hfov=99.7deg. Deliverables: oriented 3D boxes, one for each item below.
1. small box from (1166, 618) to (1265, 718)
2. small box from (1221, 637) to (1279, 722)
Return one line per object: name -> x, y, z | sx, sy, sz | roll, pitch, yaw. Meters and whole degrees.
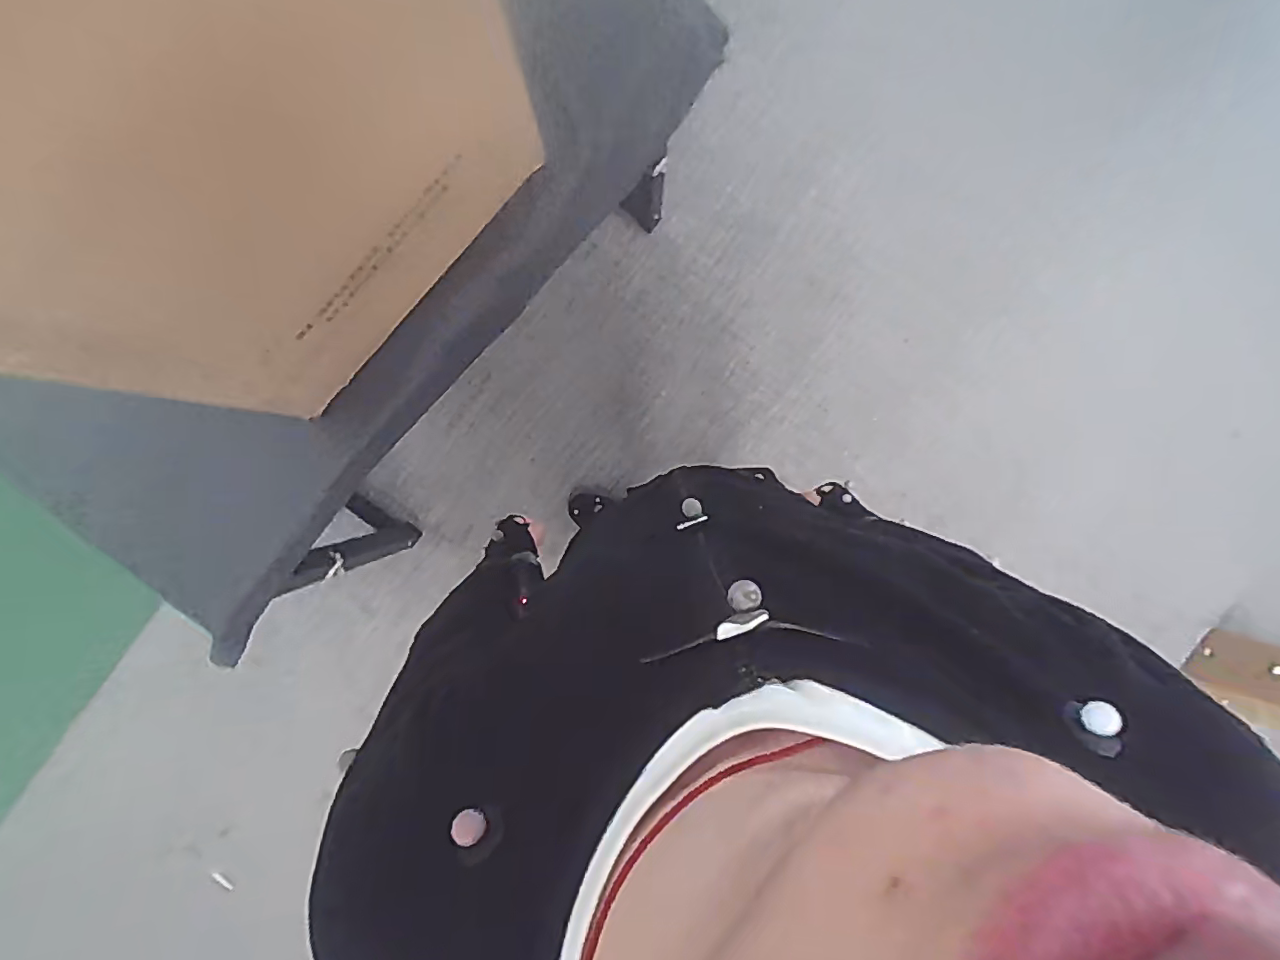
small box -> 1.660, 0.523, 1.527 | 0.168, 0.176, 0.179 | 38, 91, -3
small box -> 1.658, 0.524, 1.361 | 0.179, 0.176, 0.168 | 37, 90, -2
